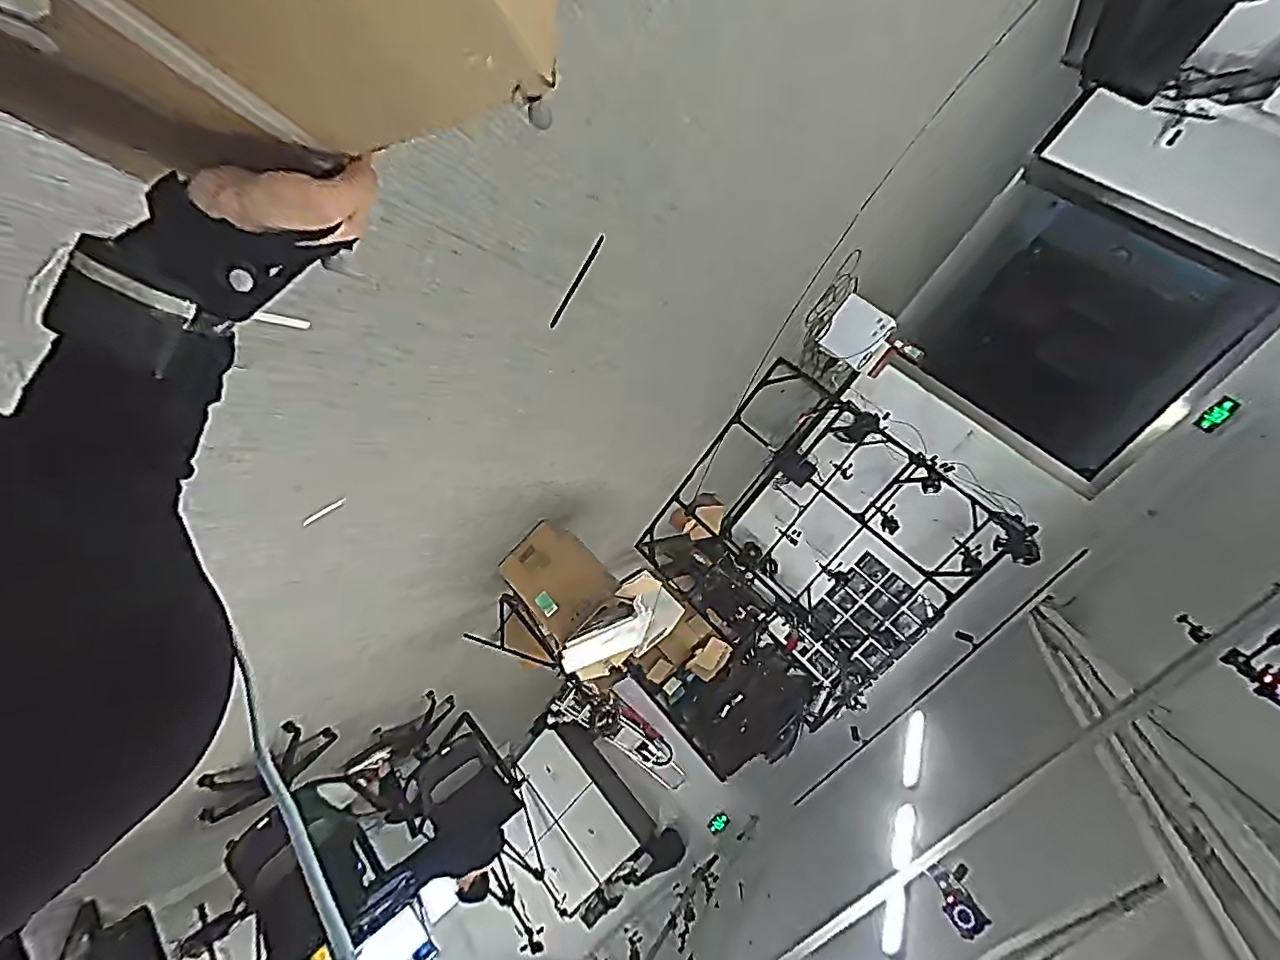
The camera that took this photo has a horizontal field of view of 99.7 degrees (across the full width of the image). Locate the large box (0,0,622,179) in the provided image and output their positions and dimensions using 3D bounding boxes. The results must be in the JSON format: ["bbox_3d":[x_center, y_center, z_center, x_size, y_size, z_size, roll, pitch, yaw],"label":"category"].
[{"bbox_3d":[-0.220,-0.377,0.152,0.408,0.320,0.320,14,80,-65],"label":"large box"}]
